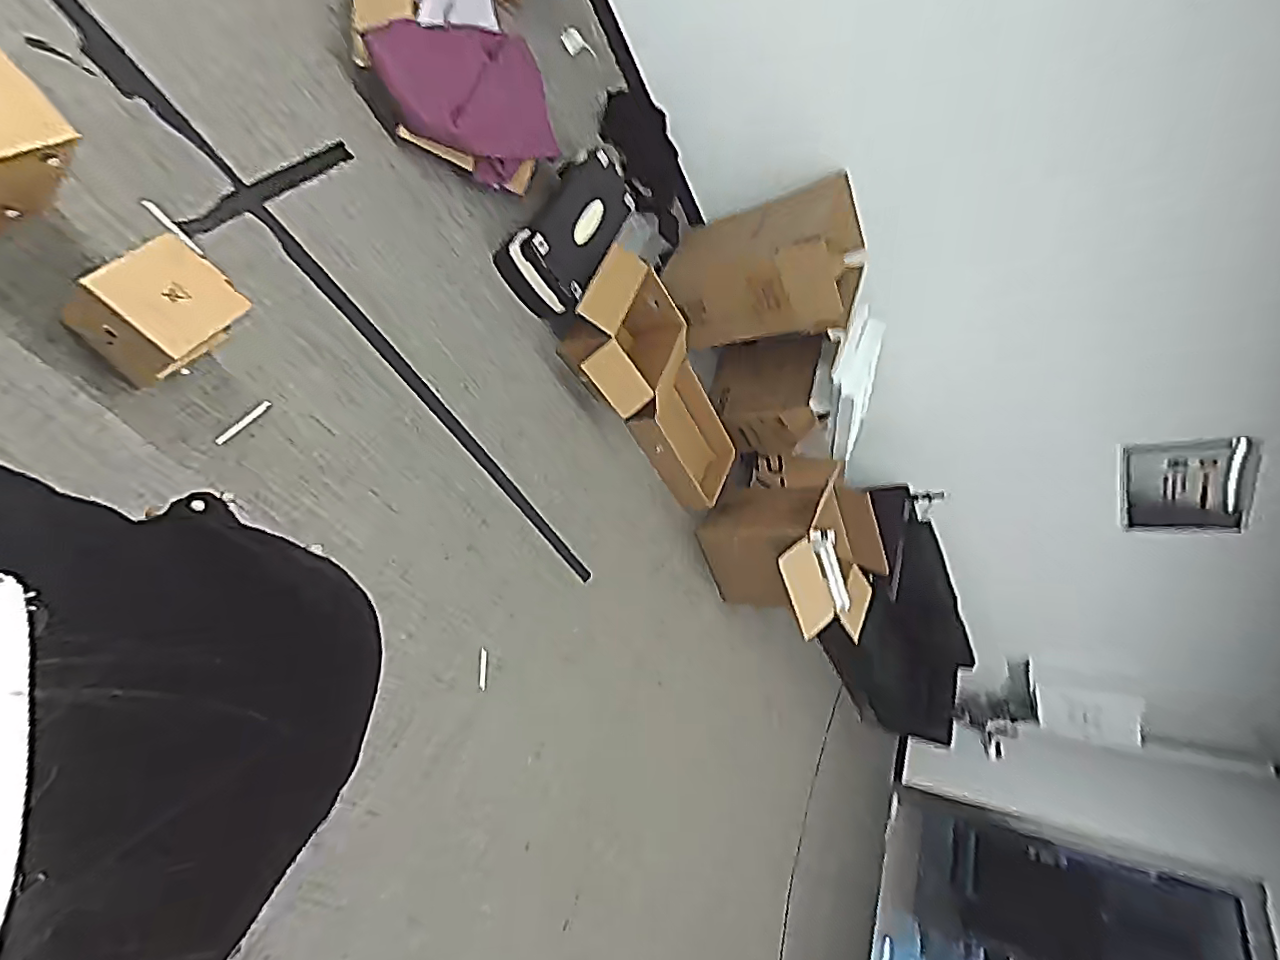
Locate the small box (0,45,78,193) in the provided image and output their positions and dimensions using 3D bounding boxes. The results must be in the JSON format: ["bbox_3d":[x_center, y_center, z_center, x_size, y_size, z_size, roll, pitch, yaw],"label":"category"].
[{"bbox_3d":[-1.042,-0.559,0.831,0.179,0.176,0.168,-55,128,-37],"label":"small box"}]

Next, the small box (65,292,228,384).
[{"bbox_3d":[-1.019,-0.319,1.116,0.168,0.176,0.179,-57,131,-36],"label":"small box"}]

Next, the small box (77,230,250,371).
[{"bbox_3d":[-0.893,-0.330,1.013,0.168,0.176,0.179,53,51,-33],"label":"small box"}]

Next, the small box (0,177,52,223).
[{"bbox_3d":[-1.174,-0.551,0.931,0.168,0.176,0.179,55,49,-33],"label":"small box"}]
